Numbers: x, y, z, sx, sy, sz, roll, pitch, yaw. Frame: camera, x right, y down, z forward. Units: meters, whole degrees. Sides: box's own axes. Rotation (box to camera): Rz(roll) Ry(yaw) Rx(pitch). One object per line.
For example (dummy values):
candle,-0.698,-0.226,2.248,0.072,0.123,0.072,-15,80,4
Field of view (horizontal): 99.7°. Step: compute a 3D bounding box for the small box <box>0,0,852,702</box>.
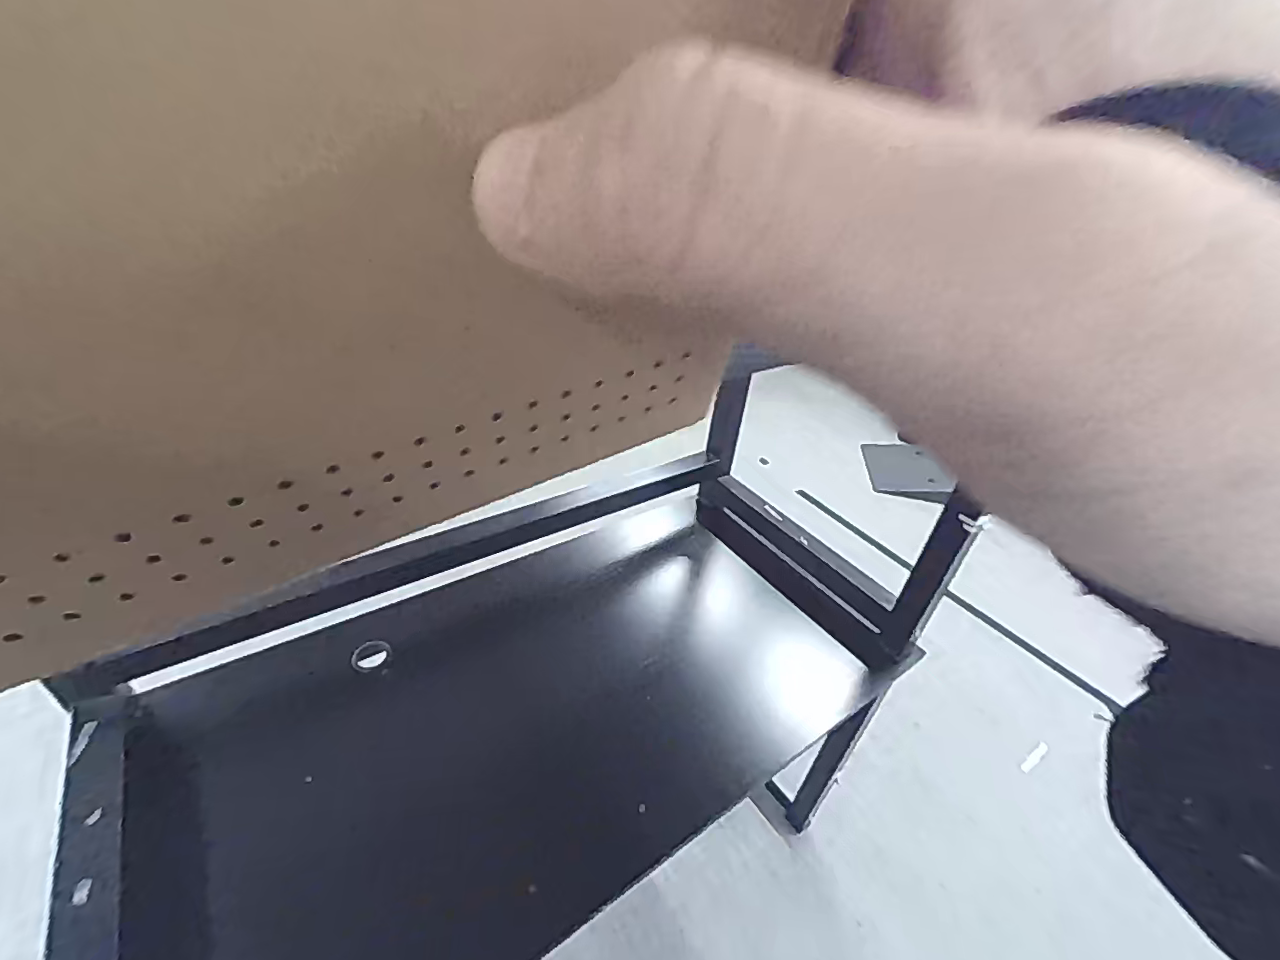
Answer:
small box,-0.084,-0.087,0.068,0.179,0.176,0.168,-23,62,-22
